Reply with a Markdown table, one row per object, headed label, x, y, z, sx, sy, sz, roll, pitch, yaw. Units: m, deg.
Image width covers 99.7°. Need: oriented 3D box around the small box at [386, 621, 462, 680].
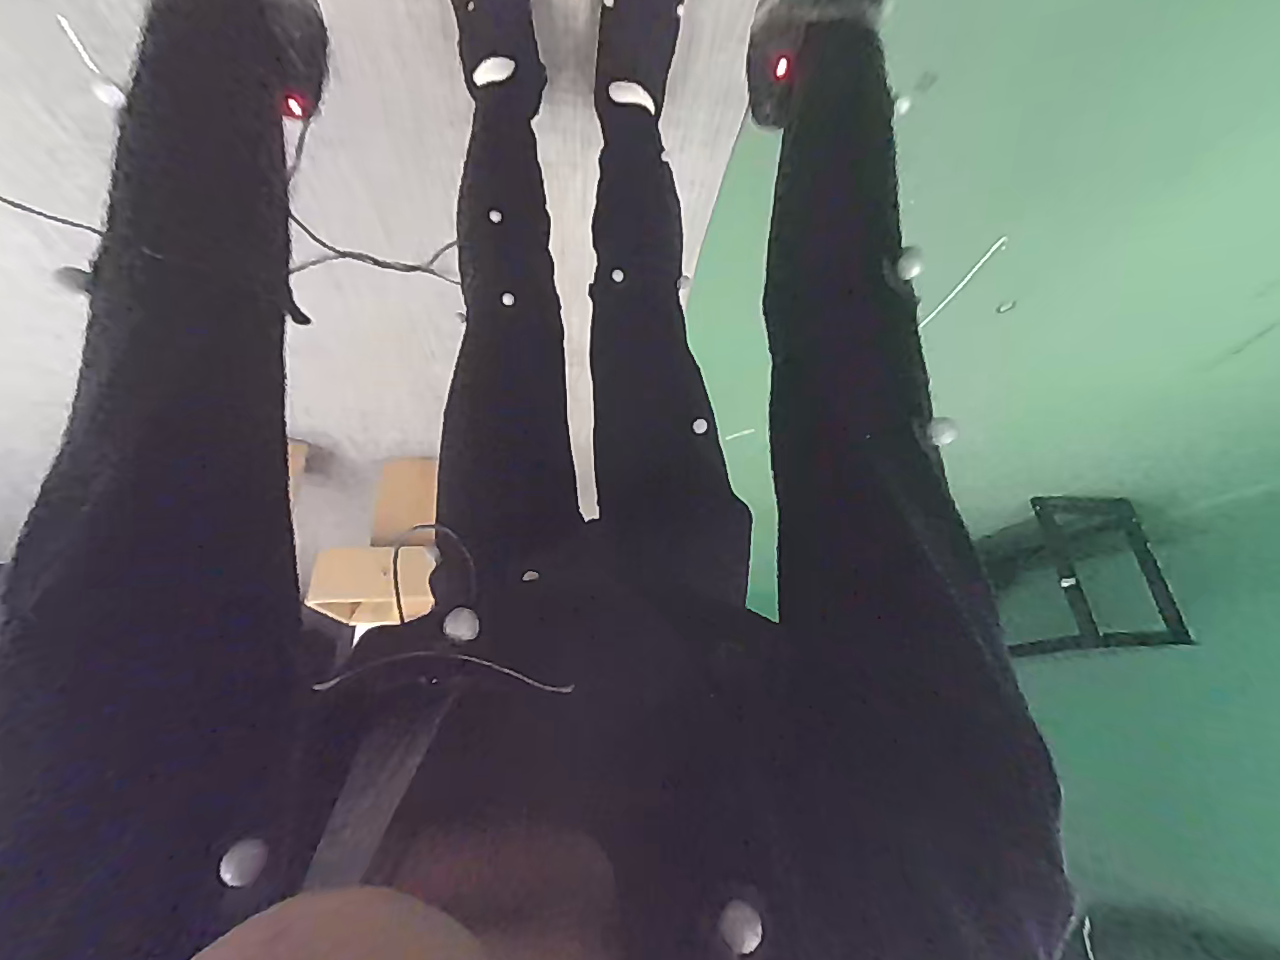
| label | x | y | z | sx | sy | sz | roll | pitch | yaw |
| --- | --- | --- | --- | --- | --- | --- | --- | --- | --- |
| small box | -0.732 | 0.588 | 1.855 | 0.179 | 0.176 | 0.168 | -12 | 155 | 18 |
